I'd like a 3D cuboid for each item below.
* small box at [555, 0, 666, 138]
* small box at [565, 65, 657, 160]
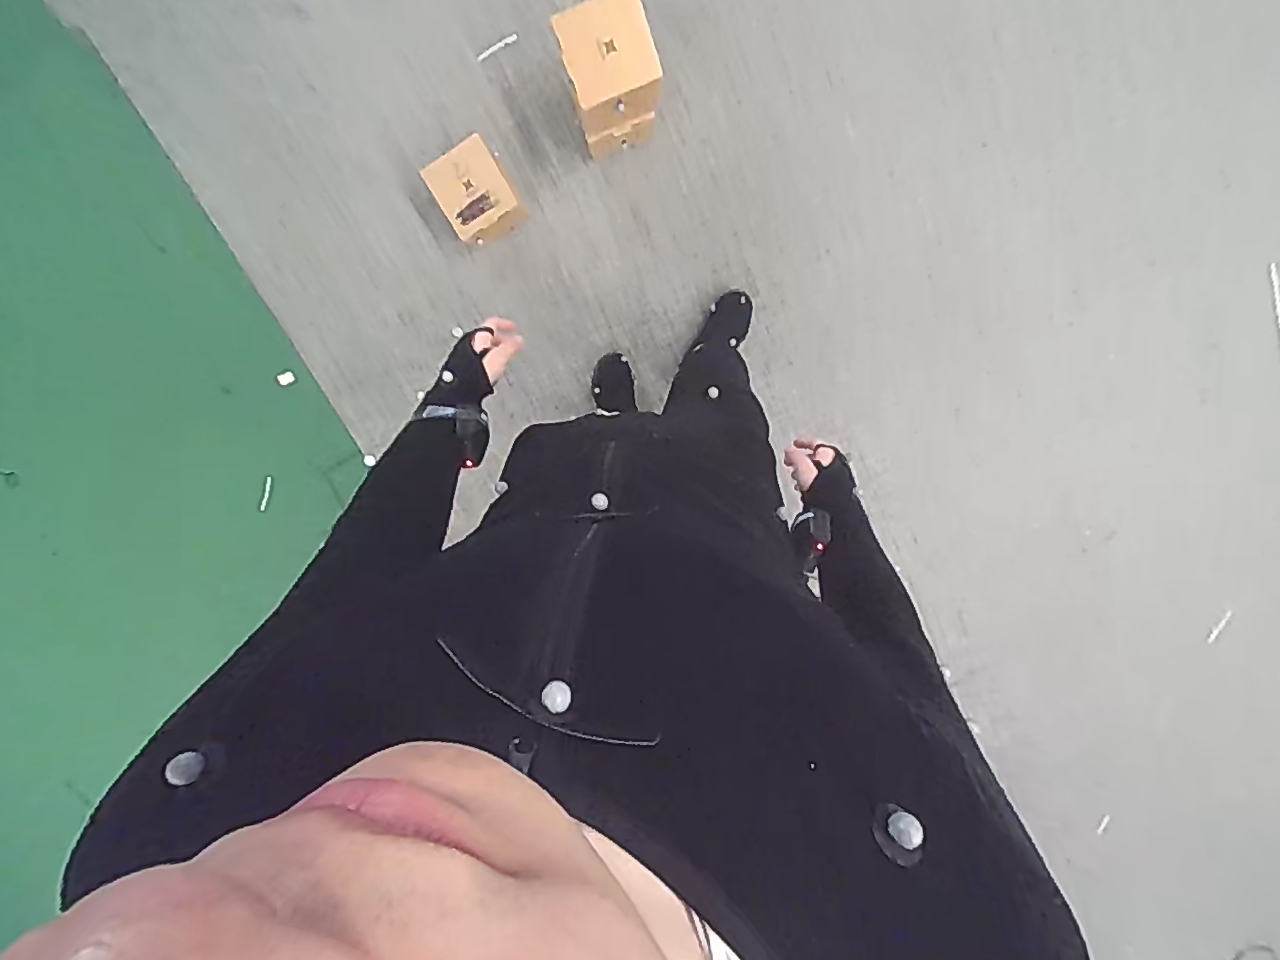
[{"bbox_3d":[-0.057,-0.853,1.127,0.179,0.176,0.168,-19,106,7],"label":"small box"},{"bbox_3d":[-0.063,-0.889,1.286,0.168,0.176,0.179,-18,107,5],"label":"small box"}]
